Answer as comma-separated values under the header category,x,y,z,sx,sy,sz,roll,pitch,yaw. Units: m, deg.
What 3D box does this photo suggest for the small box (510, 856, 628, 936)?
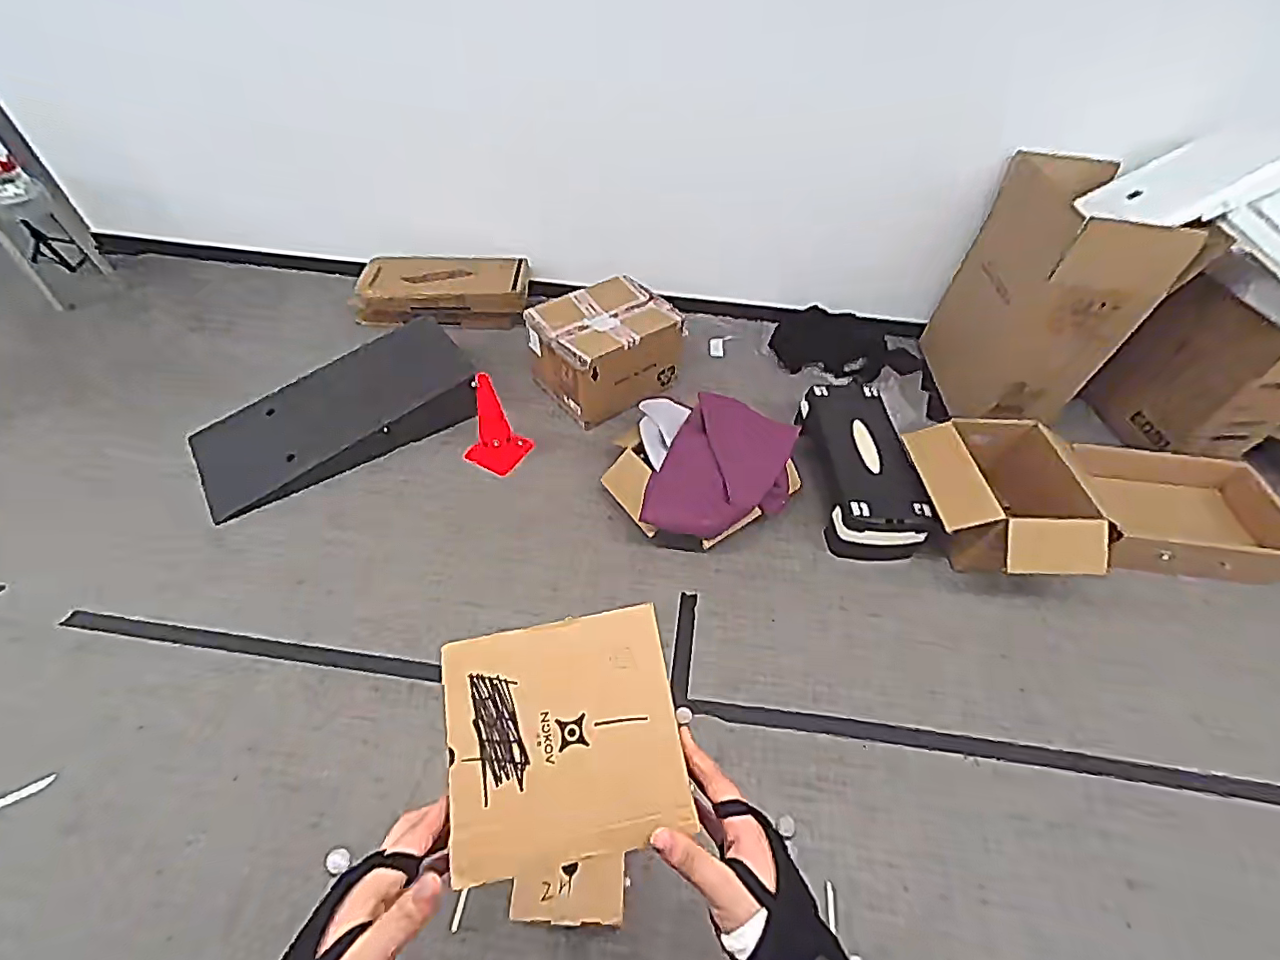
category,x,y,z,sx,sy,sz,roll,pitch,yaw
small box,-0.105,0.628,0.886,0.168,0.176,0.179,1,49,0

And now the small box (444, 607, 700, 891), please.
category,x,y,z,sx,sy,sz,roll,pitch,yaw
small box,-0.053,0.225,0.473,0.179,0.176,0.168,-11,66,-3
